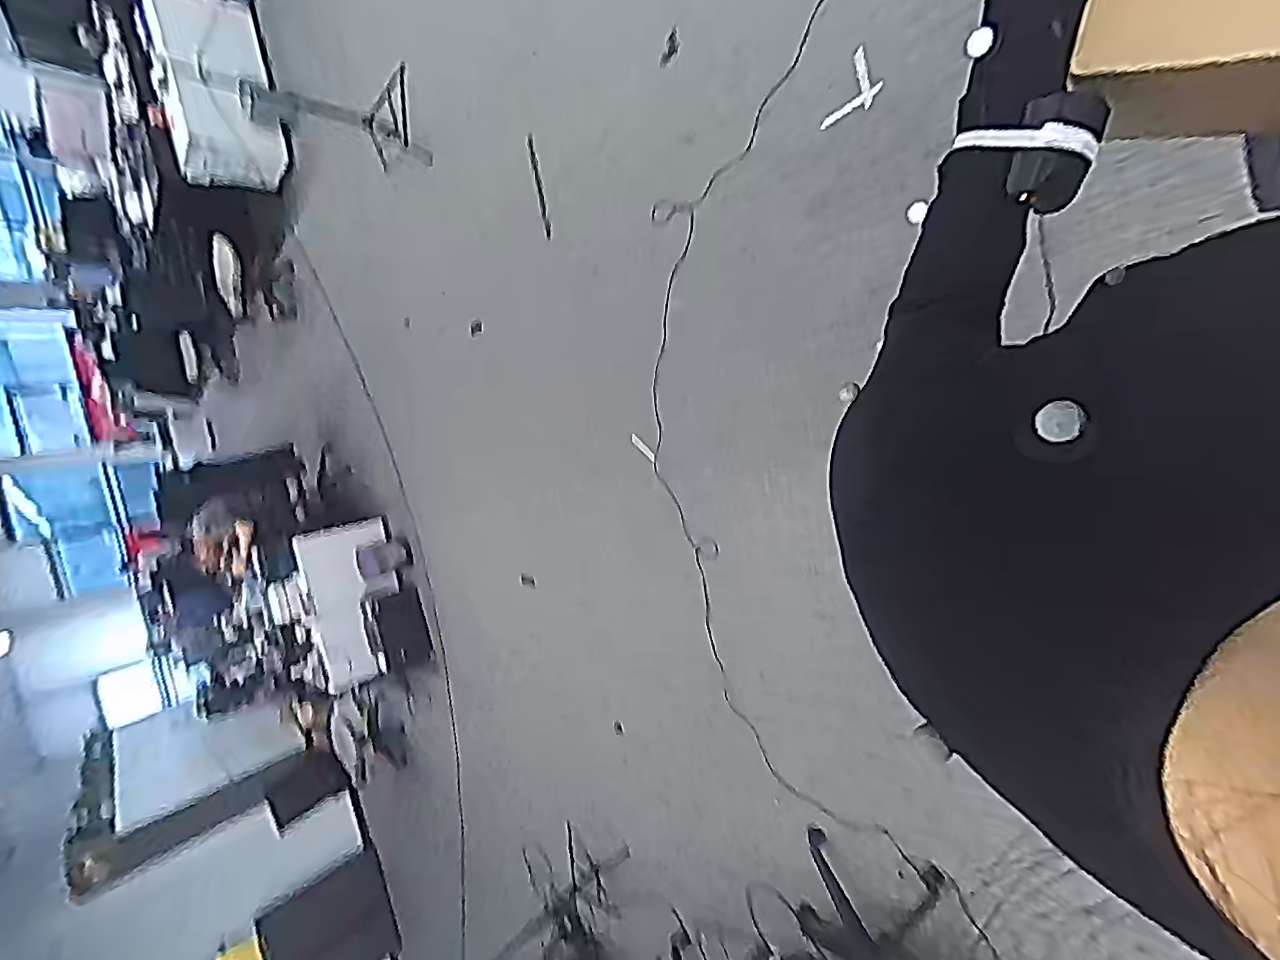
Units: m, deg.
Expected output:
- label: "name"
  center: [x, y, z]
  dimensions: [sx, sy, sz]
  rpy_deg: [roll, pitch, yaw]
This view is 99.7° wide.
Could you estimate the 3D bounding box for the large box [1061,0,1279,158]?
- label: "large box"
  center: [0.541, -0.399, 0.317]
  dimensions: [0.408, 0.320, 0.320]
  rpy_deg: [19, 120, 34]
